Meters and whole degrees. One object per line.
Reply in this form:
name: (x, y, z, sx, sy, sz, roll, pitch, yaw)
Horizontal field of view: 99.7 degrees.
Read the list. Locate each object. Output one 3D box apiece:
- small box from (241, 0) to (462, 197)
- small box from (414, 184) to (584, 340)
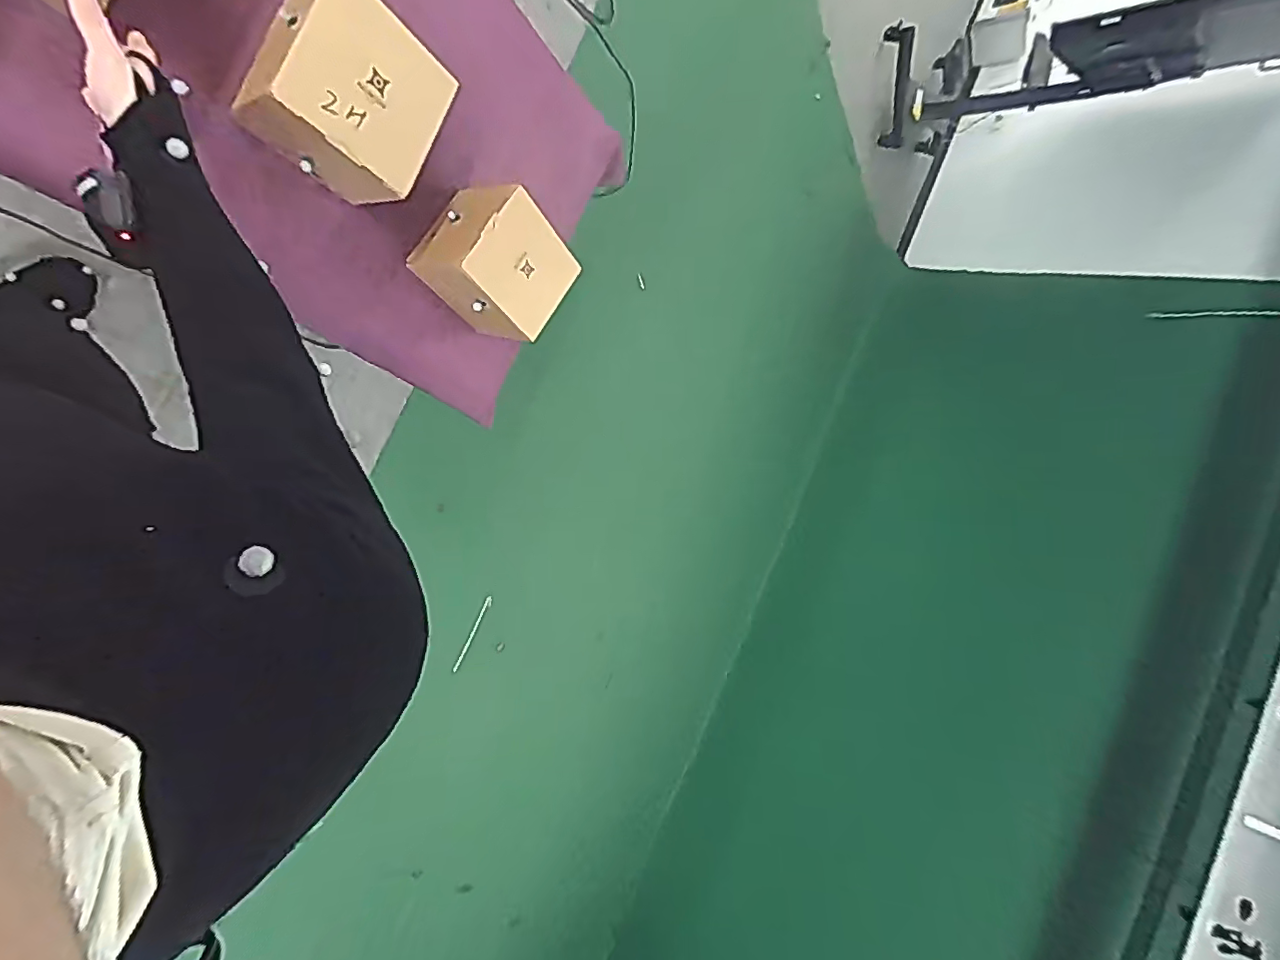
small box: (-0.367, -0.492, 0.687, 0.168, 0.176, 0.179, 28, 85, -51)
small box: (-0.234, -0.363, 0.905, 0.168, 0.176, 0.179, -59, 139, -11)
